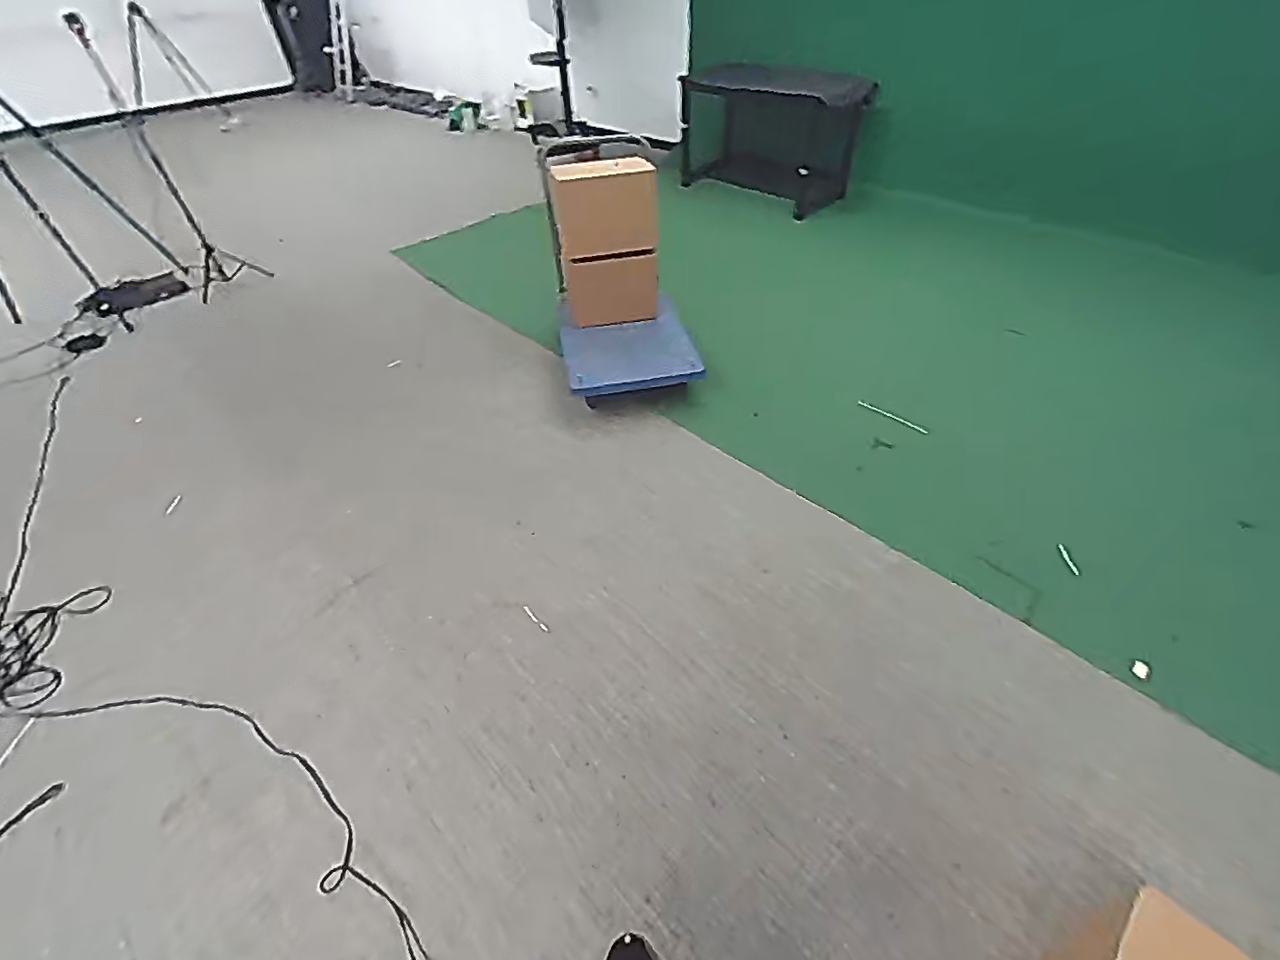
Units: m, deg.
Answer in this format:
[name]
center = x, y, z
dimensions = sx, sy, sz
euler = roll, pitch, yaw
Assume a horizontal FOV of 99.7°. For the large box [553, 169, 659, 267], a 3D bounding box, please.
[large box]
center = -0.147, -1.155, 2.374
dimensions = 0.408, 0.320, 0.320
euler = -10, 40, -9
